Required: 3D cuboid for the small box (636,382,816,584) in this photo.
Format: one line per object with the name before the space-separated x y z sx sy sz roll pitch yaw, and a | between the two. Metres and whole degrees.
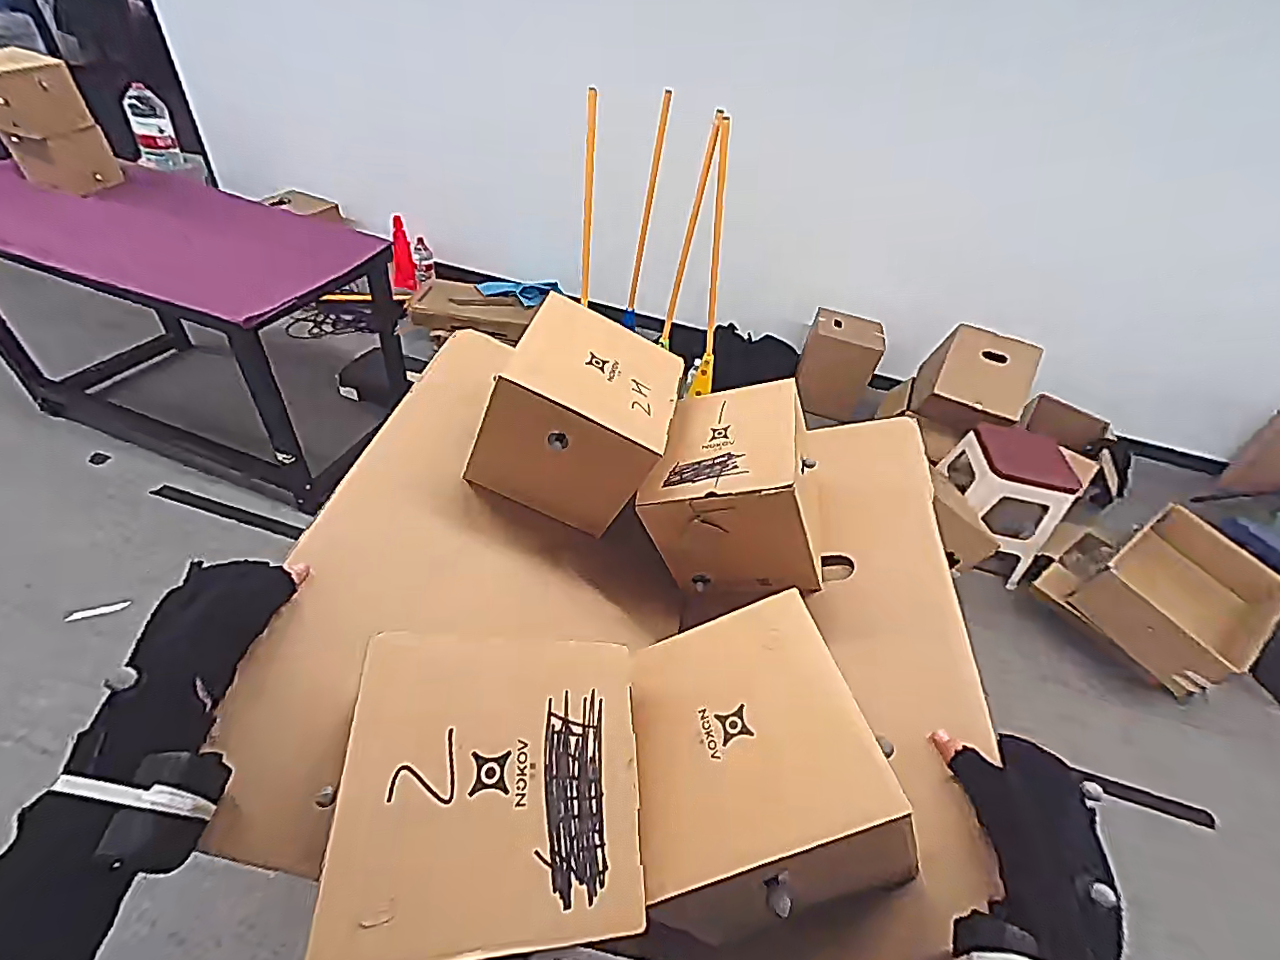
small box | 0.115 0.013 0.651 0.168 0.176 0.179 -7 42 23
